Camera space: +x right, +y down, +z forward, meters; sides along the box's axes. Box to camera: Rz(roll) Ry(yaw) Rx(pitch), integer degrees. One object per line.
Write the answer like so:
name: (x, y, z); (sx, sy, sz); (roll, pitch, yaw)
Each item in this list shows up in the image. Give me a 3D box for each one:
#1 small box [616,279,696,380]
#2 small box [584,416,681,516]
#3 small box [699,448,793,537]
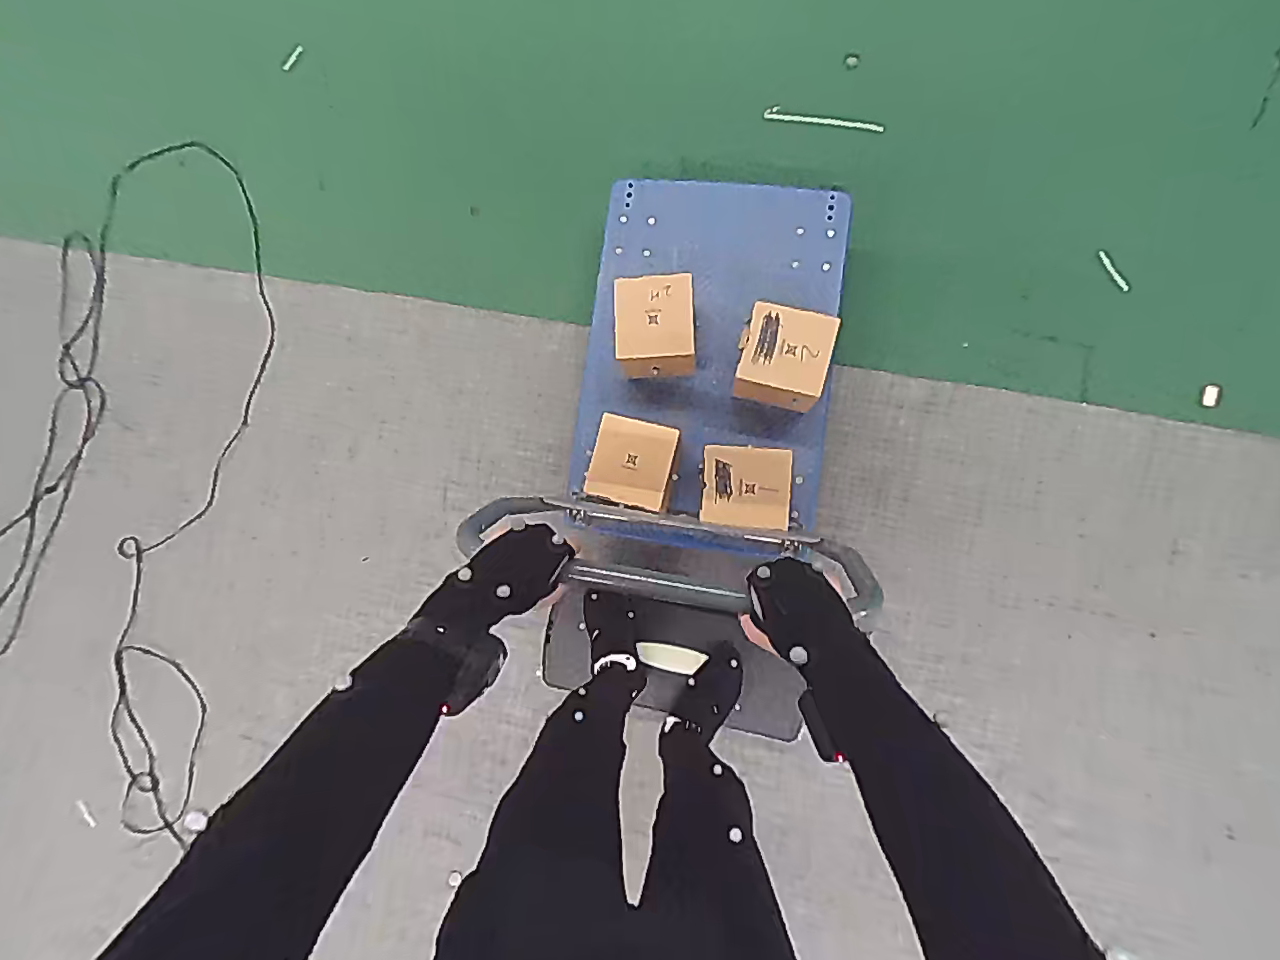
small box: (0.040, -0.324, 1.203); (0.168, 0.176, 0.179); (-1, 86, 6)
small box: (-0.009, -0.024, 1.187); (0.168, 0.176, 0.179); (15, 88, 7)
small box: (0.219, 0.030, 1.153); (0.179, 0.176, 0.168); (5, 87, 6)
